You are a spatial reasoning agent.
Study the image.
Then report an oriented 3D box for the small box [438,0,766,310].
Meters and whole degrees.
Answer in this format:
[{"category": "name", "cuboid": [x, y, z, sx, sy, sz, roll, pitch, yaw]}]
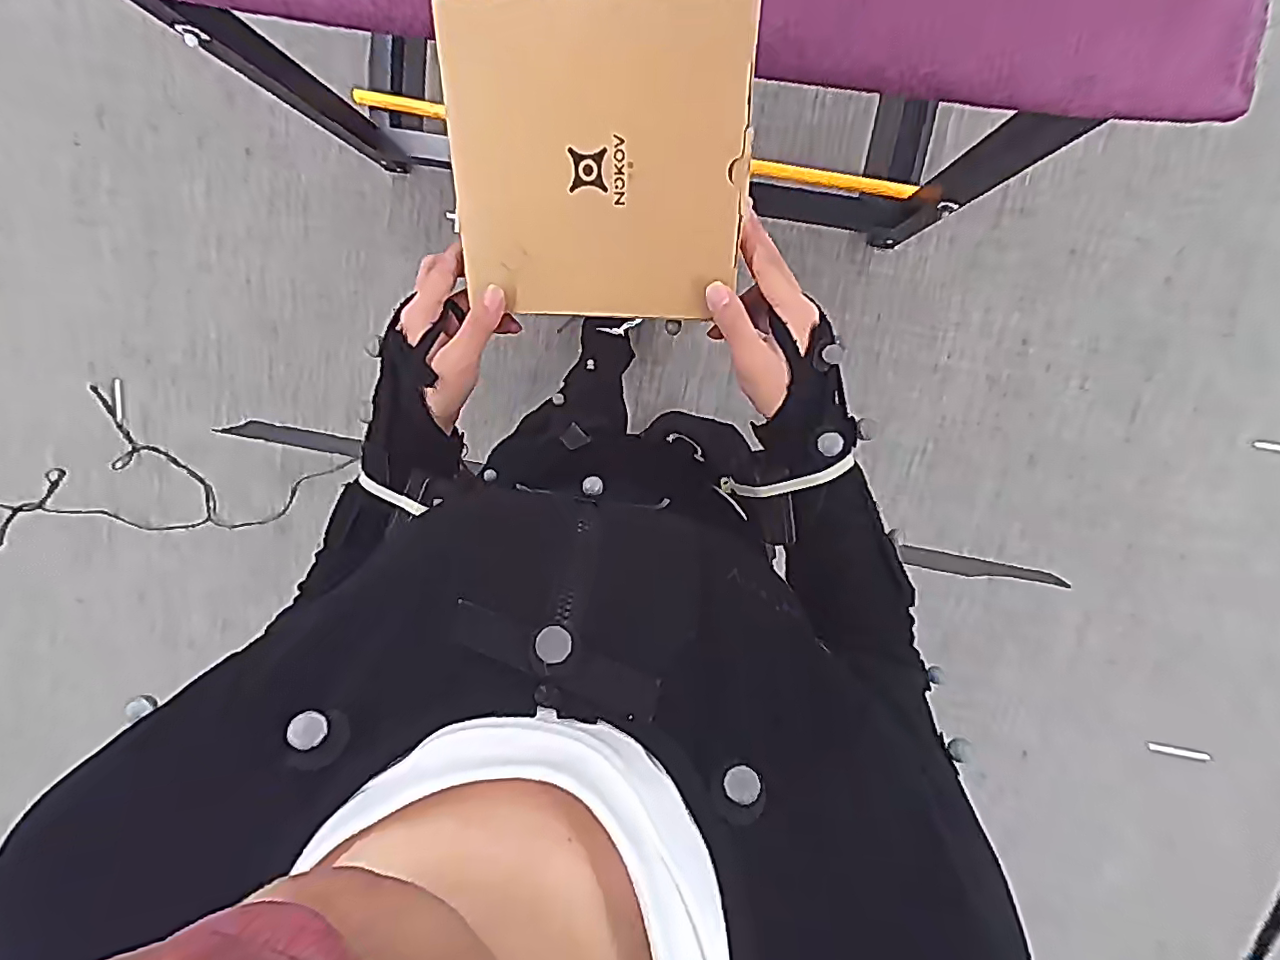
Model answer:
[{"category": "small box", "cuboid": [-0.015, -0.218, 0.383, 0.179, 0.176, 0.168, 3, 115, 4]}]
